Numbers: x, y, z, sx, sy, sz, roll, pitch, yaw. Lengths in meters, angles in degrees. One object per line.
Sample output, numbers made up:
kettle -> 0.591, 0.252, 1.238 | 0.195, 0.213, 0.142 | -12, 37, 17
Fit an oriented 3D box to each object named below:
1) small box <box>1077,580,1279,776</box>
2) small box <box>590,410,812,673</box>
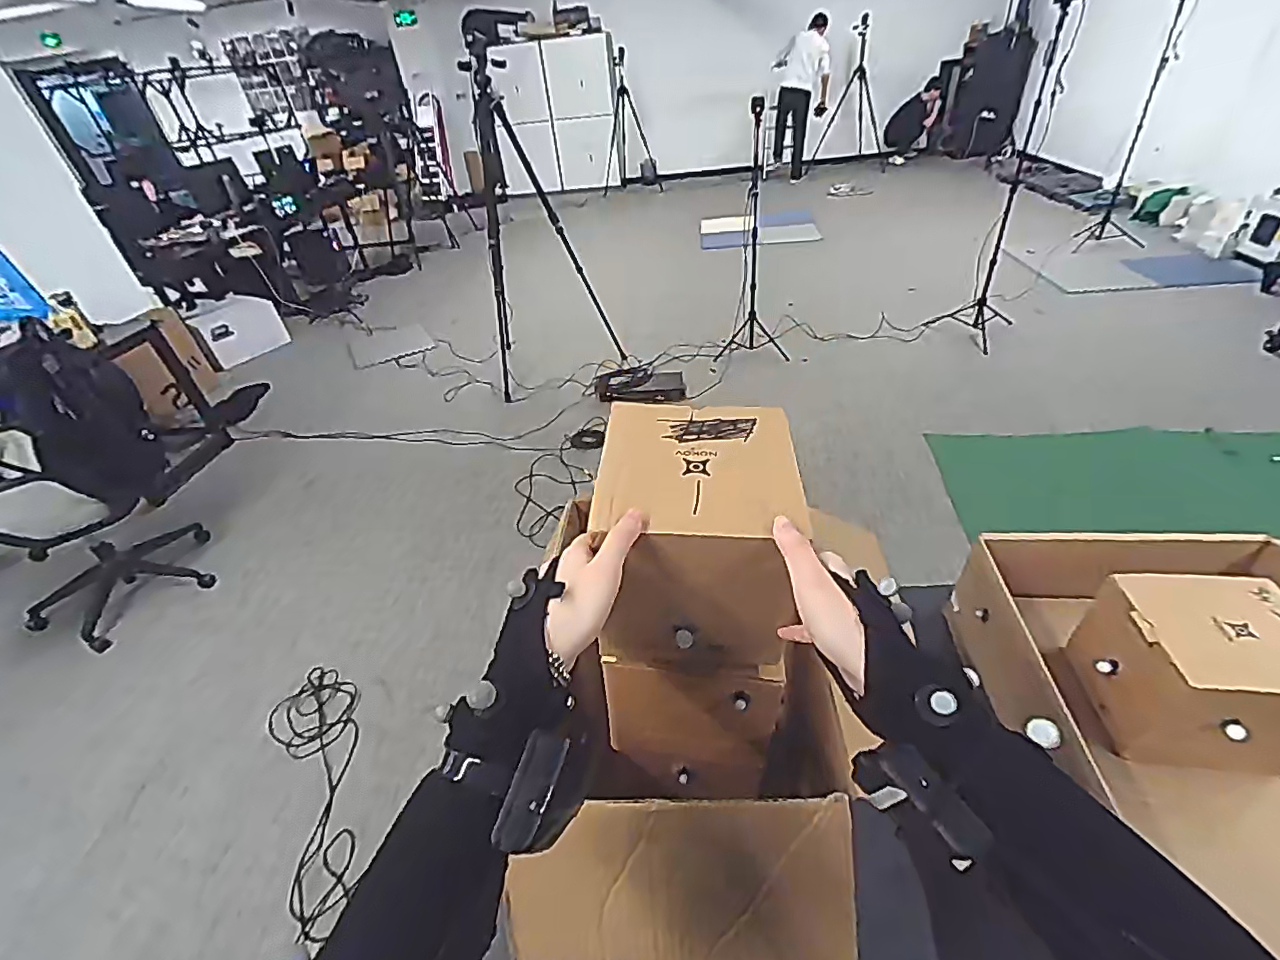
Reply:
small box -> 0.688, 0.243, 0.671 | 0.179, 0.176, 0.168 | -1, 39, 12
small box -> 0.051, 0.053, 0.507 | 0.168, 0.176, 0.179 | 2, 41, 5
